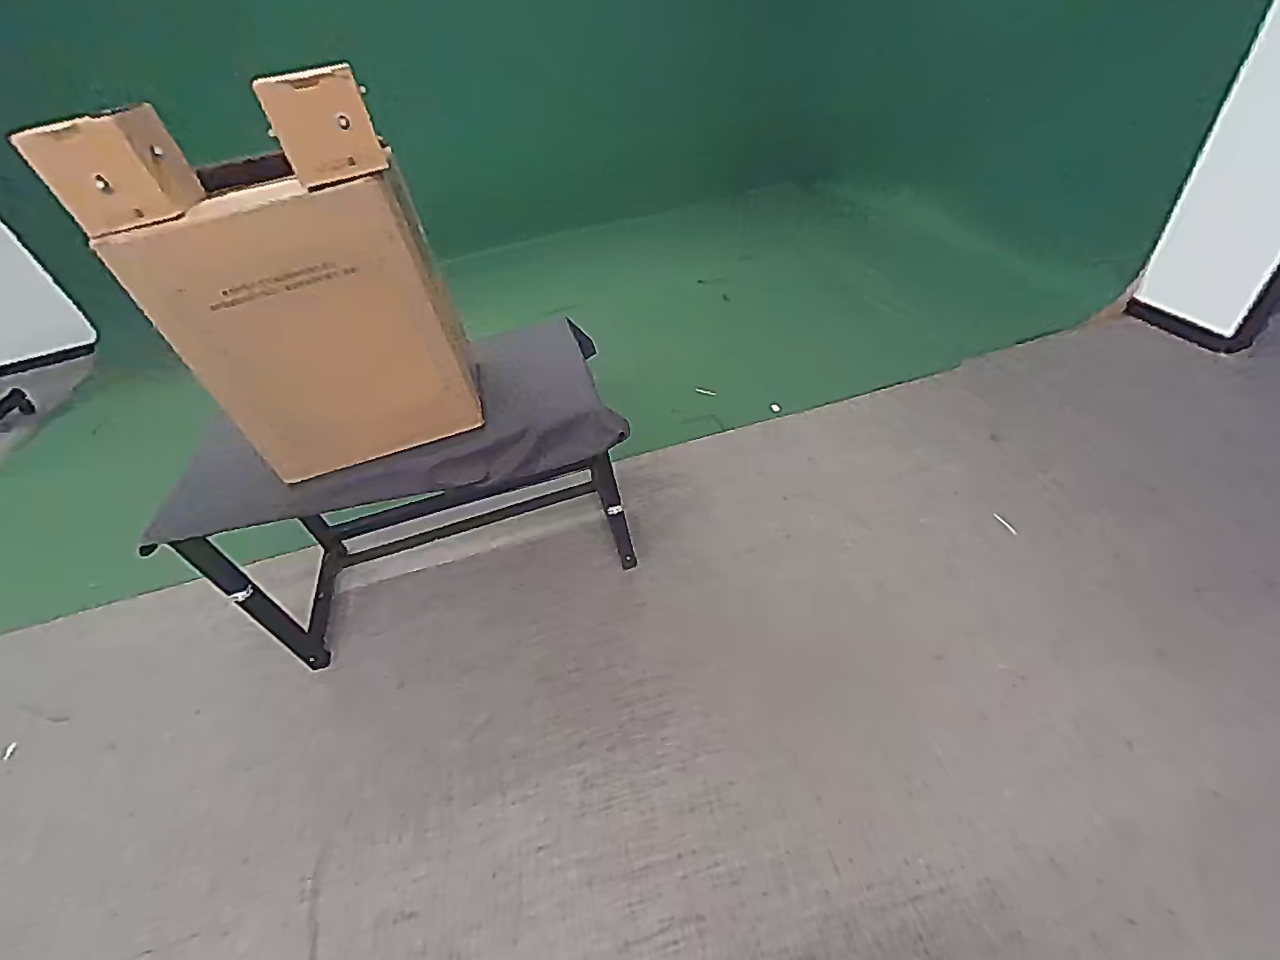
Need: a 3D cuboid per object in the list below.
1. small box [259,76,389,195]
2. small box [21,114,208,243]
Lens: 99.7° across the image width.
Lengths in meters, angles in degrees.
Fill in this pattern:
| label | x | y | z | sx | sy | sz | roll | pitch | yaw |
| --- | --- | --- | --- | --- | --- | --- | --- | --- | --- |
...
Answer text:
| label | x | y | z | sx | sy | sz | roll | pitch | yaw |
| --- | --- | --- | --- | --- | --- | --- | --- | --- | --- |
| small box | -0.615 | -0.680 | 1.071 | 0.168 | 0.176 | 0.179 | -21 | 42 | -14 |
| small box | -0.984 | -0.574 | 1.037 | 0.168 | 0.176 | 0.179 | -18 | 43 | -6 |
